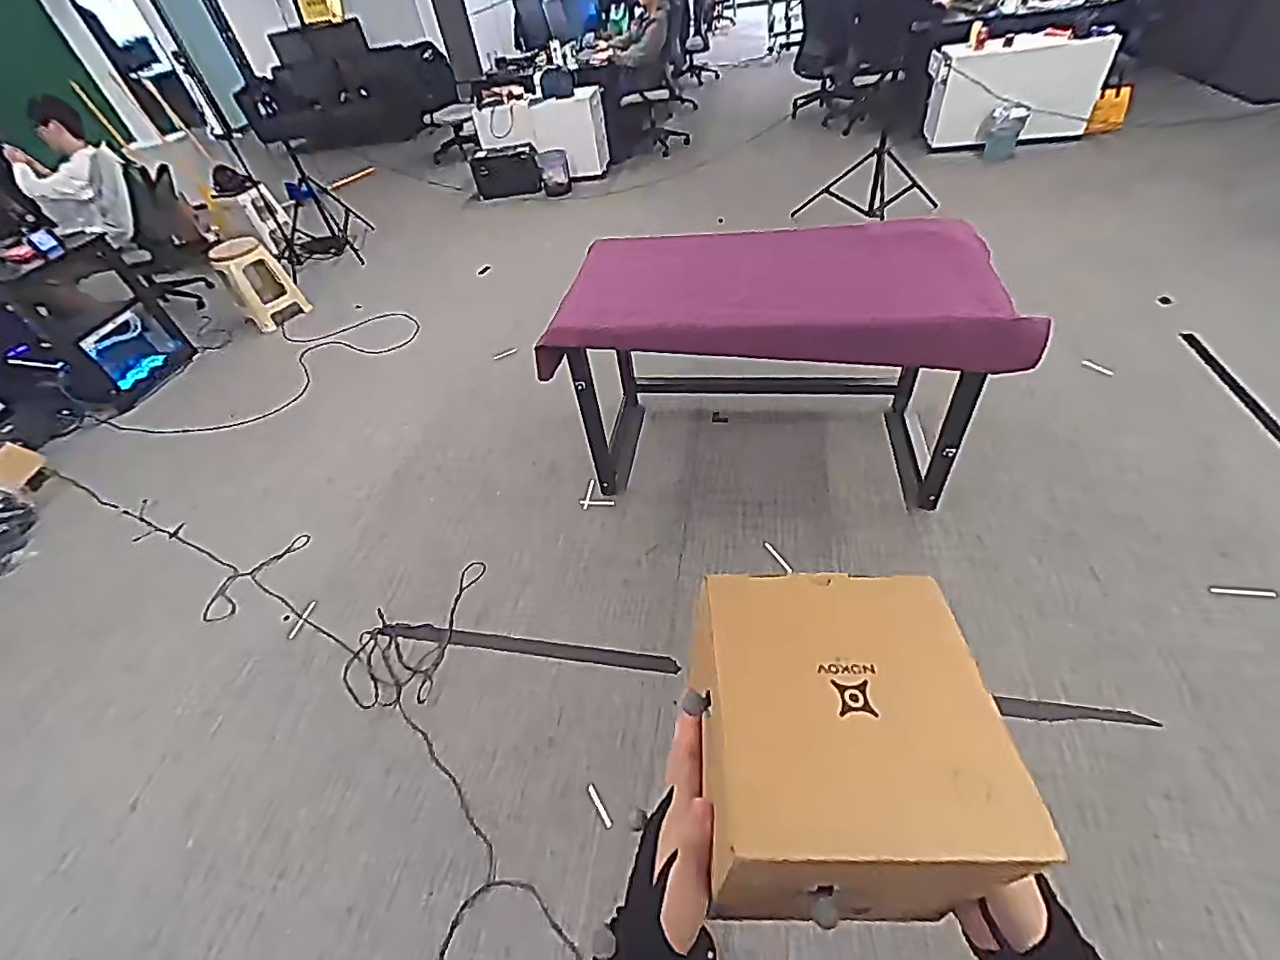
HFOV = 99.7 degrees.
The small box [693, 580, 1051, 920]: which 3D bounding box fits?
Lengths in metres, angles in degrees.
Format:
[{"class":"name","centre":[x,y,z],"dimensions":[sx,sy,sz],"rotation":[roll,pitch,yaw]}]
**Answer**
[{"class":"small box","centre":[0.128,0.191,0.386],"dimensions":[0.168,0.176,0.179],"rotation":[0,41,0]}]
